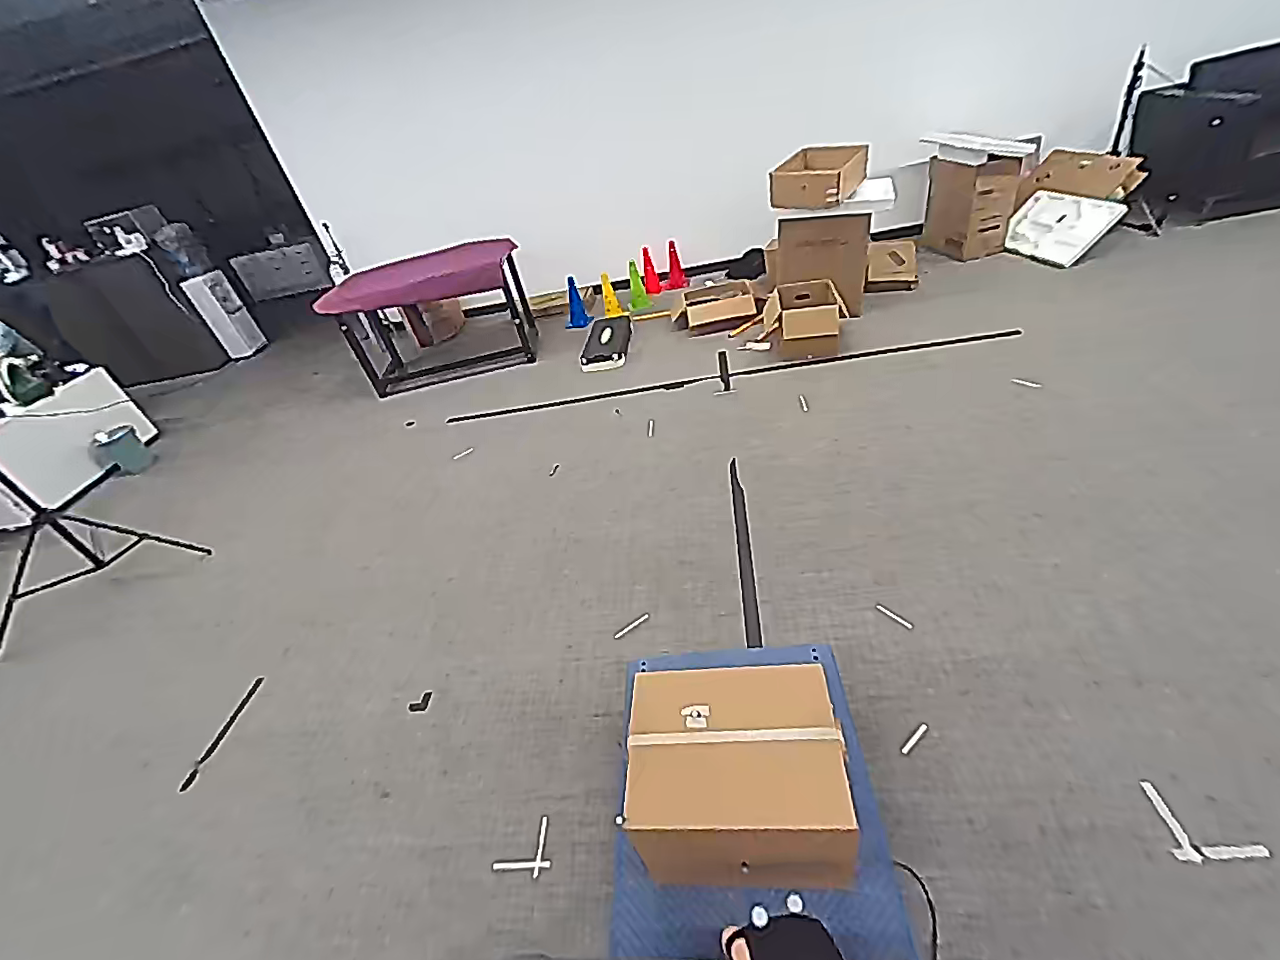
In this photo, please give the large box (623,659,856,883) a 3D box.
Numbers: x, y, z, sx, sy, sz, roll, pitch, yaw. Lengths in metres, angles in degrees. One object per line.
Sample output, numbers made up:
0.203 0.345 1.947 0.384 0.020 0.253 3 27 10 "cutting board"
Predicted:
0.203 0.609 1.126 0.408 0.320 0.320 -8 36 10 "large box"
